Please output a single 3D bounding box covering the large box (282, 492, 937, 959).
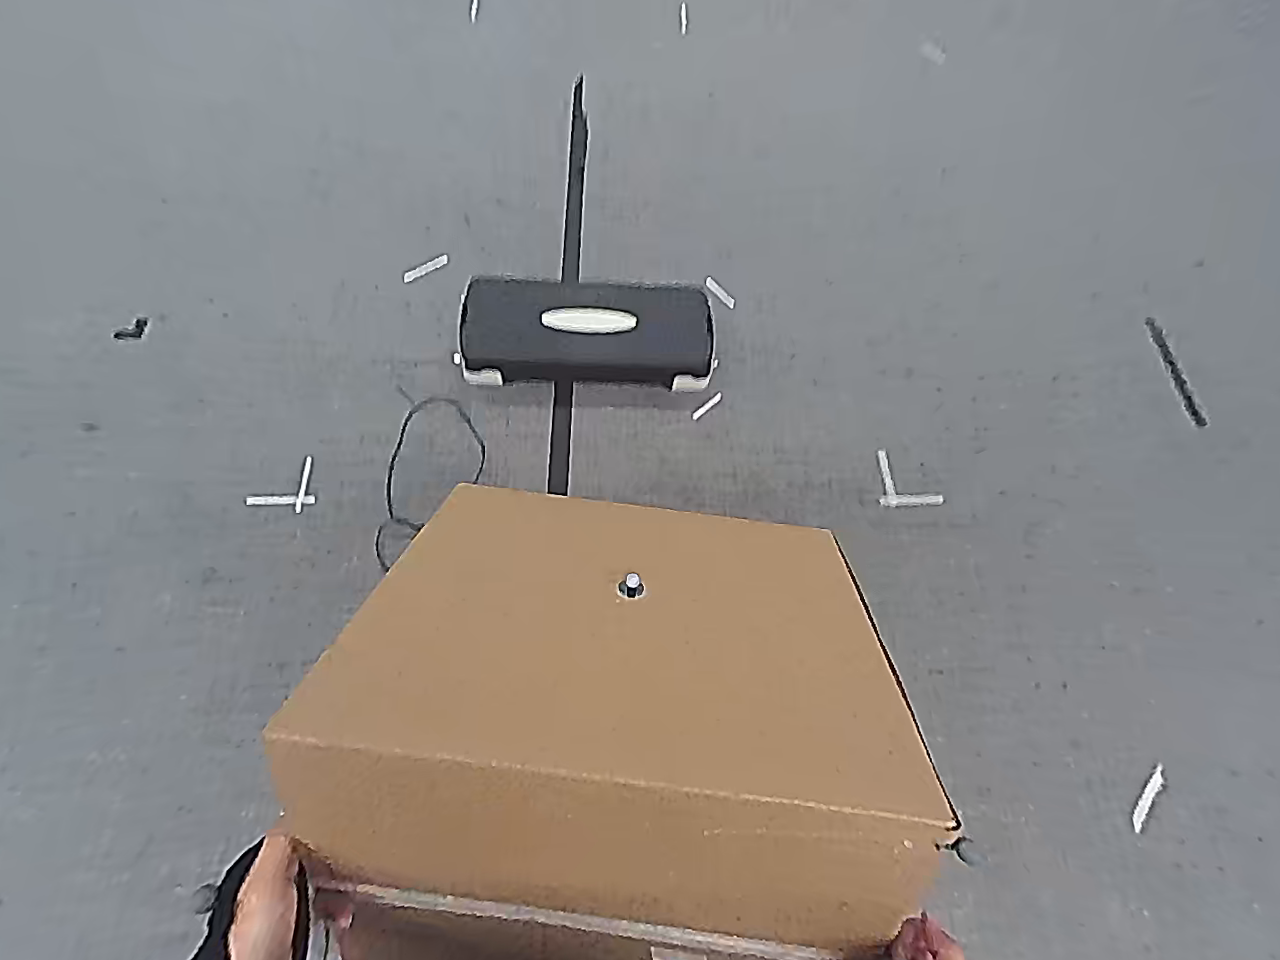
[{"bbox_3d":[-0.025,0.227,0.520,0.408,0.320,0.320,7,28,1],"label":"large box"}]
